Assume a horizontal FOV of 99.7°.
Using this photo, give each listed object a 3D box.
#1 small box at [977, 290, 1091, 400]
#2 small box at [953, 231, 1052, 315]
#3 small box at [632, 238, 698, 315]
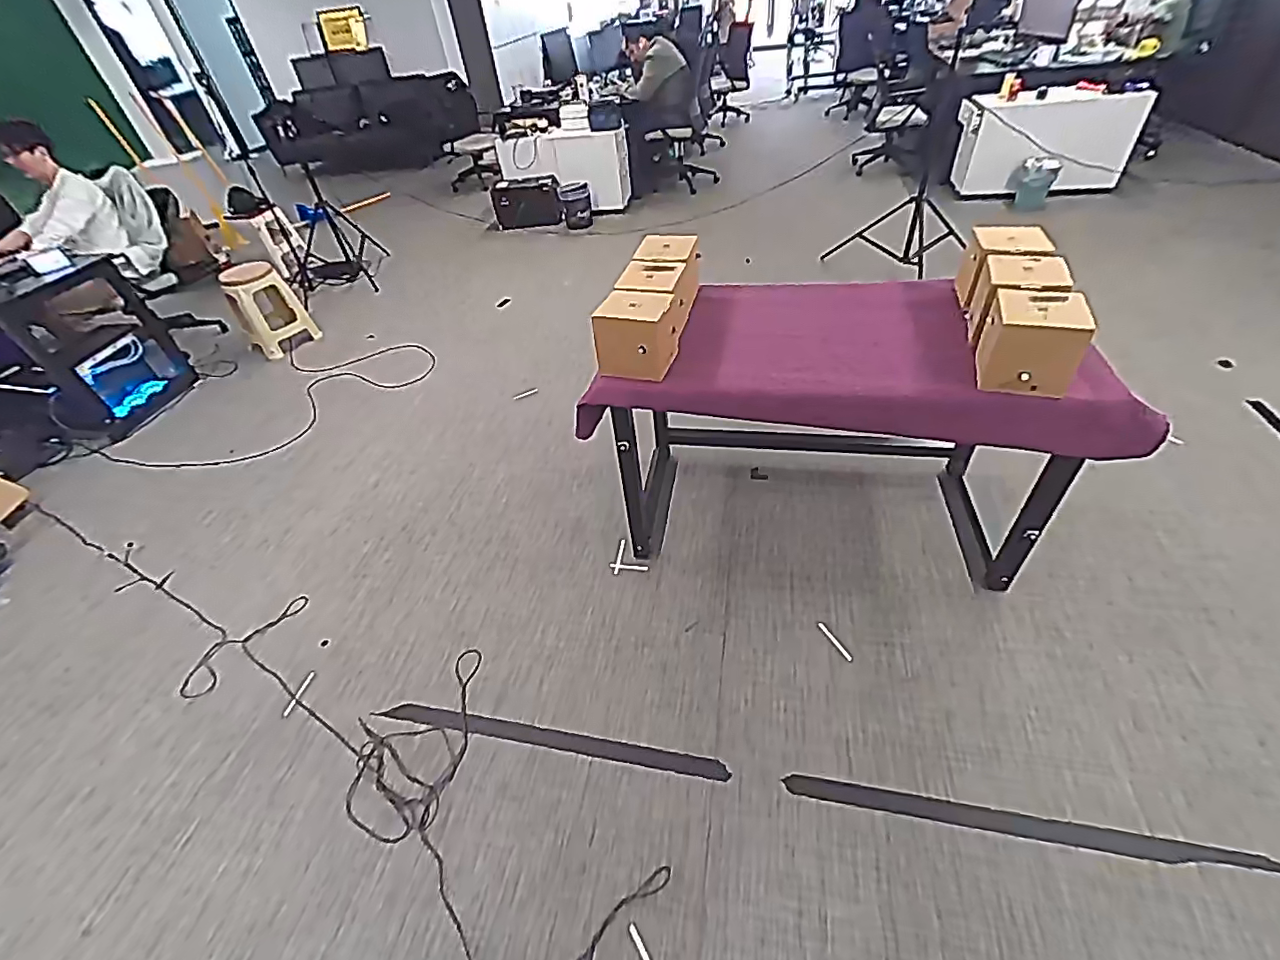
[{"bbox_3d":[0.874,-0.305,1.217,0.168,0.176,0.179,11,50,23],"label":"small box"},{"bbox_3d":[0.979,-0.566,1.481,0.168,0.176,0.179,7,44,14],"label":"small box"},{"bbox_3d":[0.083,-0.630,1.669,0.168,0.176,0.179,7,46,15],"label":"small box"}]
